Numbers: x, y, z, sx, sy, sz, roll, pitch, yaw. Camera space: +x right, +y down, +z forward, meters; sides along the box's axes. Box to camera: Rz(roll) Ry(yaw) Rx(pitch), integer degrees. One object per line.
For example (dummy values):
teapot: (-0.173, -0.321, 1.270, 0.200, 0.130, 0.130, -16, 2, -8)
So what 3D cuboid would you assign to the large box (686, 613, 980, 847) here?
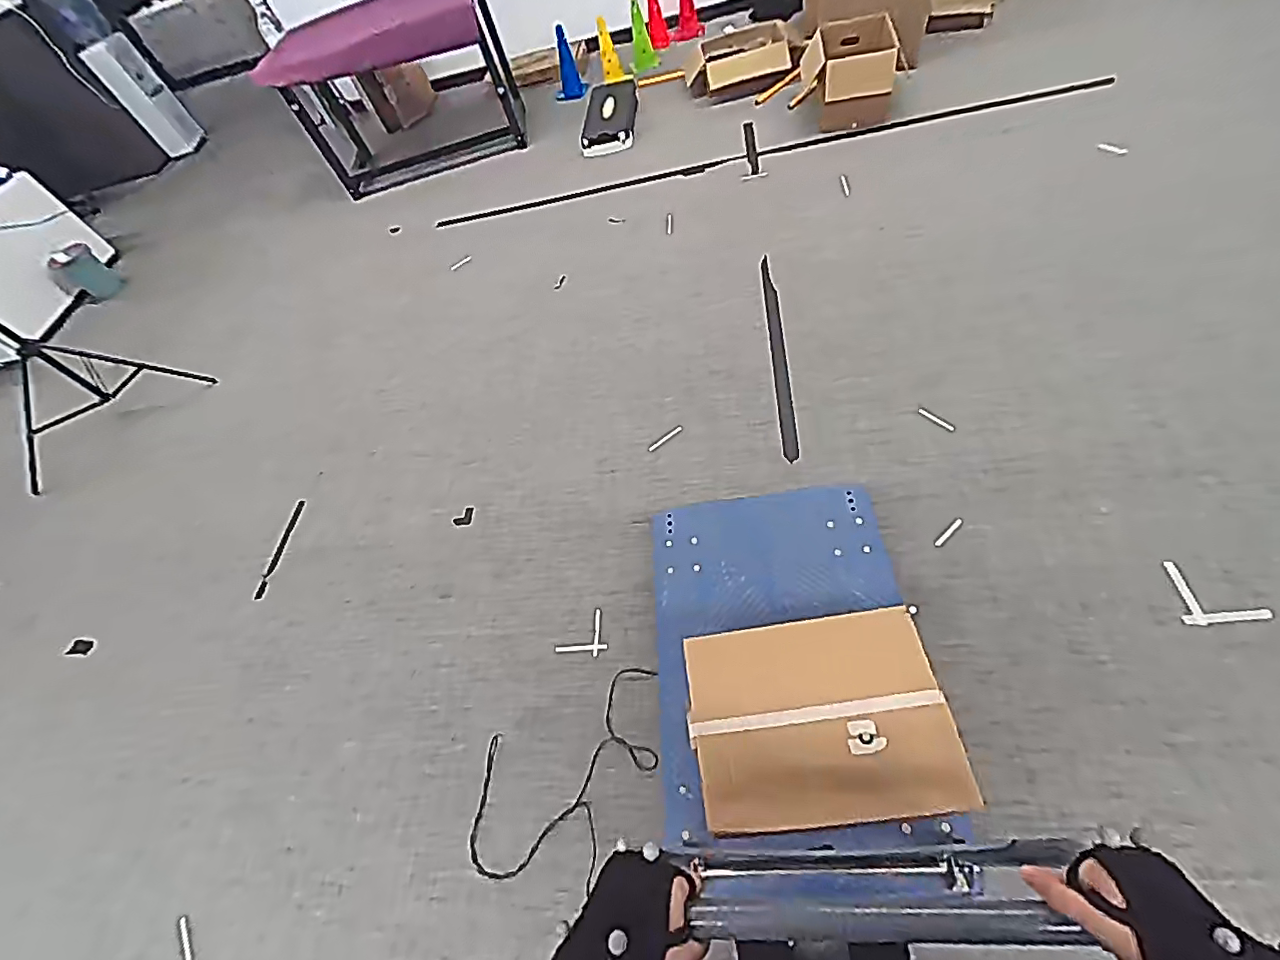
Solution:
large box: (0.319, 0.480, 1.014, 0.408, 0.320, 0.320, -10, 55, 6)
